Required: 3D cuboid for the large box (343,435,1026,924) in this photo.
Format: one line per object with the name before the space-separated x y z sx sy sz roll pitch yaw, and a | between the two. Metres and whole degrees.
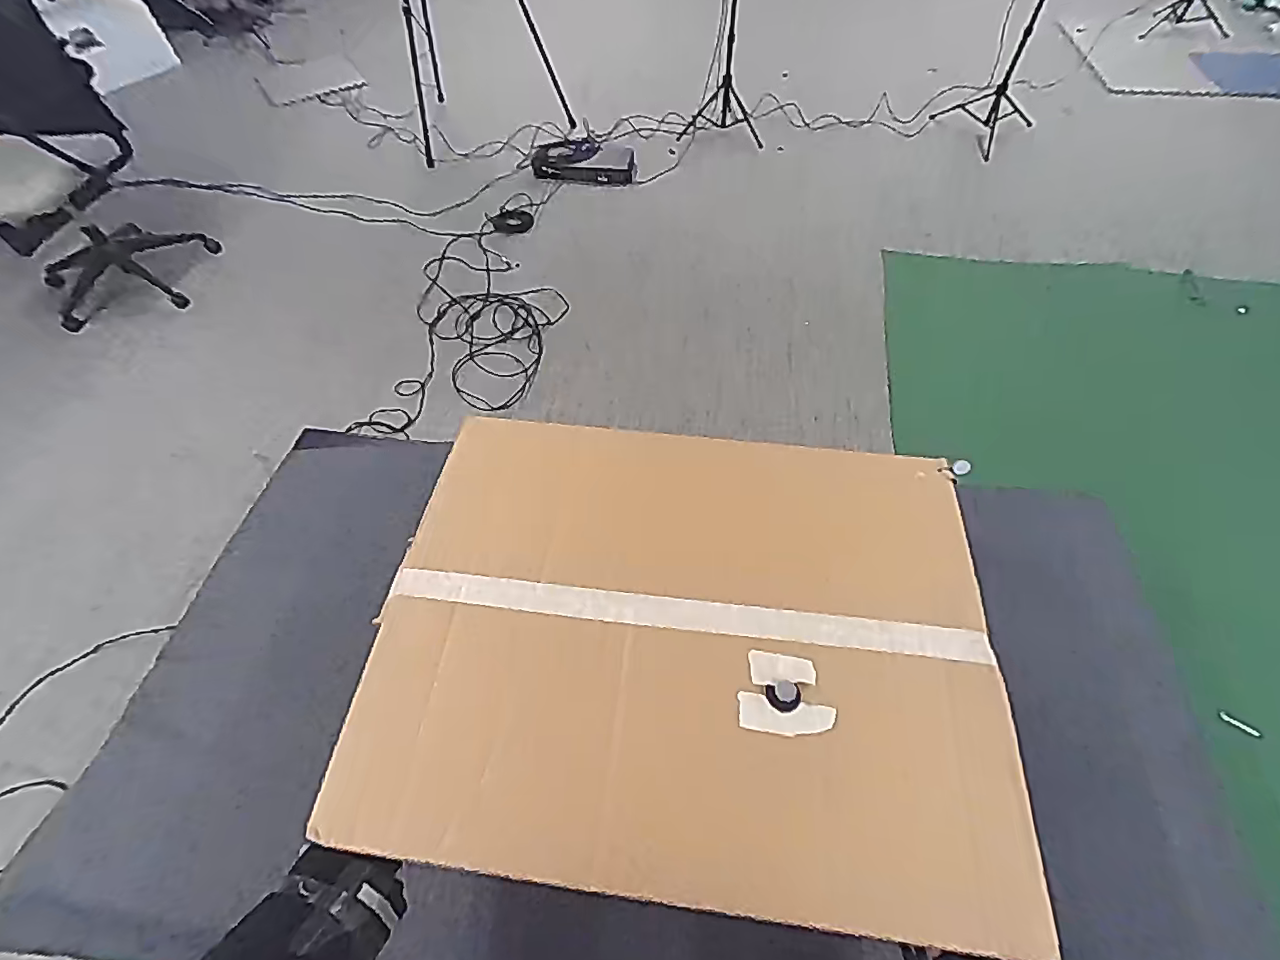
large box | 0.034 0.183 0.514 0.408 0.320 0.320 5 57 5
